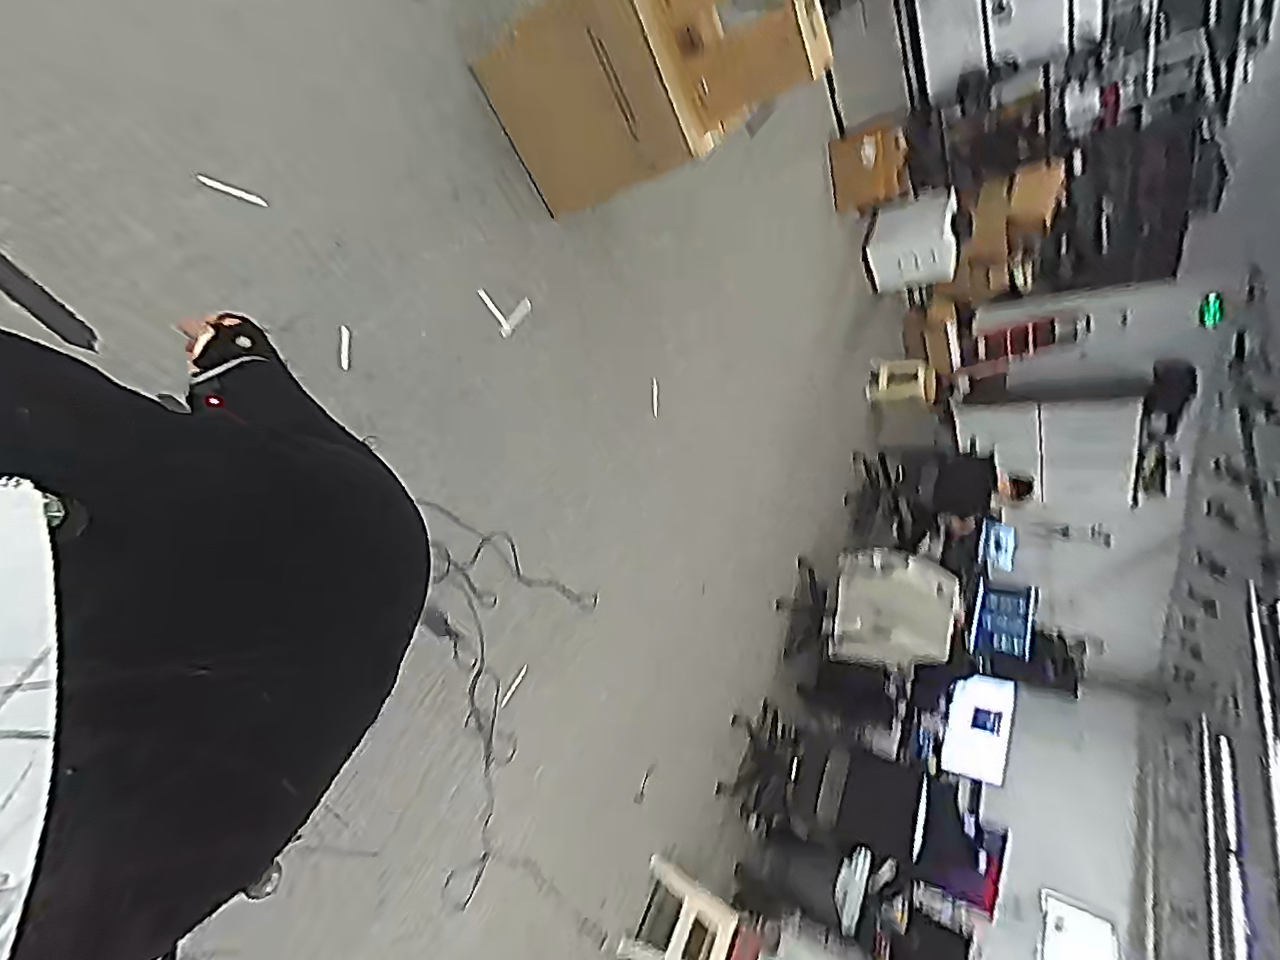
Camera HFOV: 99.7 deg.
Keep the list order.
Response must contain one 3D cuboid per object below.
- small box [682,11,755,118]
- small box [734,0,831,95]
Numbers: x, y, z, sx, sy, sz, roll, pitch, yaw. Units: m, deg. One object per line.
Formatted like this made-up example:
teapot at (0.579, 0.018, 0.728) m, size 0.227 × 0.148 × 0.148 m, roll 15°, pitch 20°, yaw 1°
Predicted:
small box at (0.243, -1.158, 1.509) m, size 0.179 × 0.176 × 0.168 m, roll -56°, pitch 129°, yaw -29°
small box at (0.367, -1.150, 1.400) m, size 0.168 × 0.176 × 0.179 m, roll -57°, pitch 130°, yaw -30°
